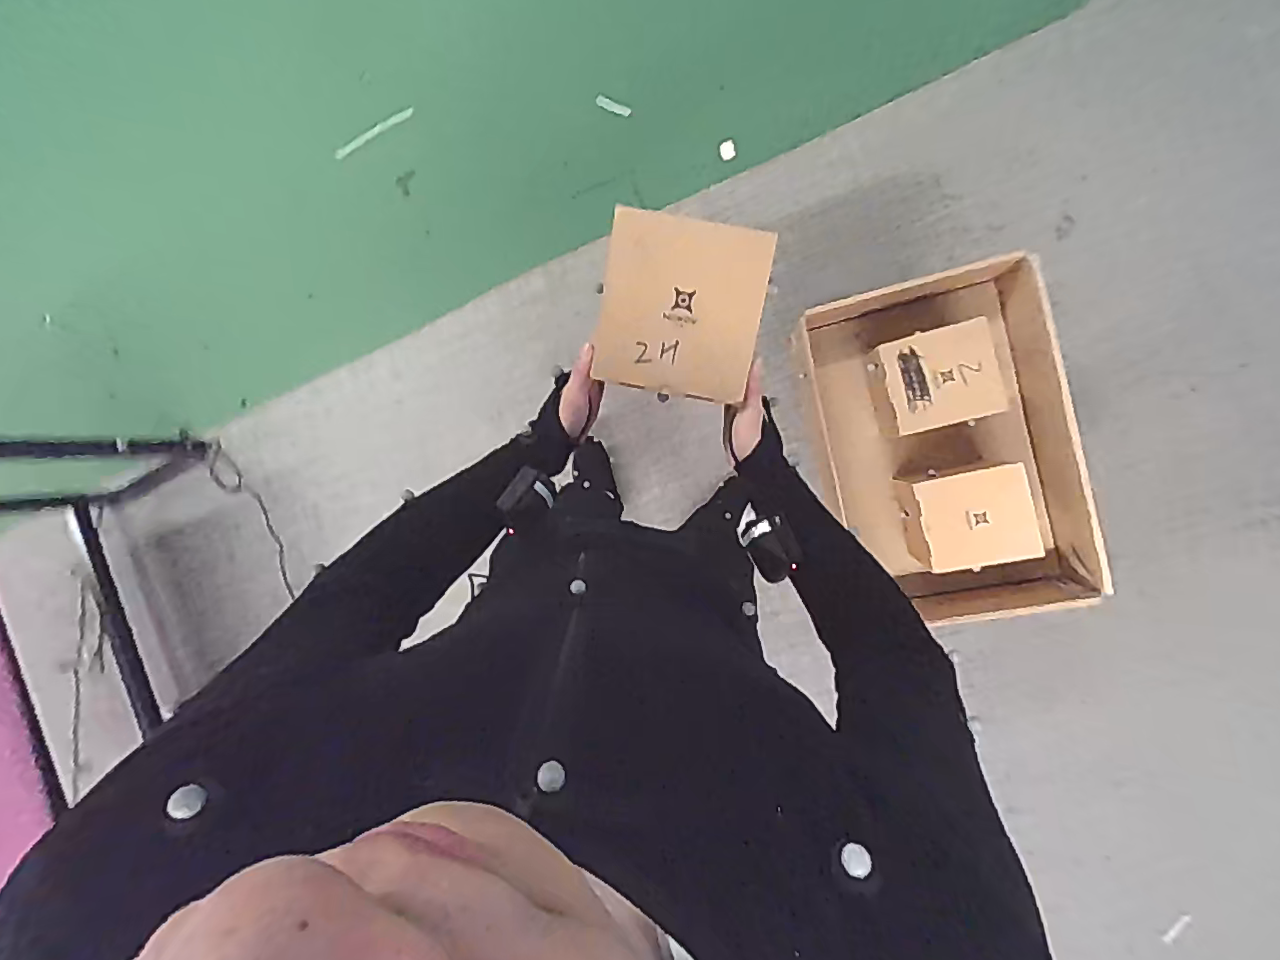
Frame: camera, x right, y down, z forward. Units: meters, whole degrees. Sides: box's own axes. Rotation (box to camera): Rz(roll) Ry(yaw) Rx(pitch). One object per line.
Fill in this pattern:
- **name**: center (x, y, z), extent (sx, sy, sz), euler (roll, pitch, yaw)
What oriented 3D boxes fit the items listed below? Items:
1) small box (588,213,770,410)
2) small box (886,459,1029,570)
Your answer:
- **small box**: center (0.039, -0.188, 0.637), extent (0.168, 0.176, 0.179), euler (10, 103, 0)
- **small box**: center (0.589, 0.058, 1.025), extent (0.179, 0.176, 0.168), euler (-13, 92, 14)
